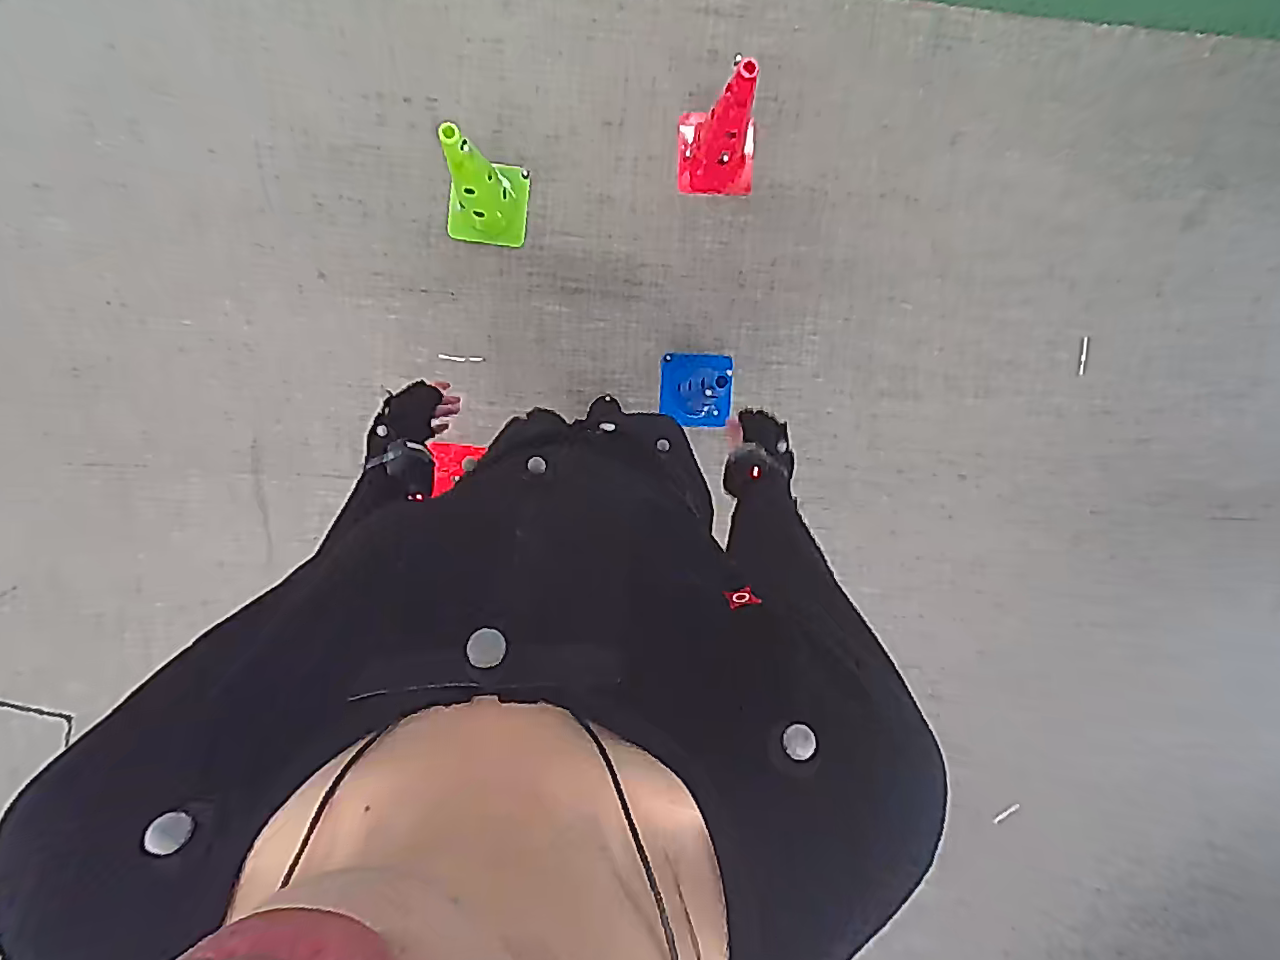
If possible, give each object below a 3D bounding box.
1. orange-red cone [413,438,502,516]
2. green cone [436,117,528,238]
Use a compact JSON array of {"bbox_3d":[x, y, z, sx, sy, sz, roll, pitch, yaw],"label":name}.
[{"bbox_3d":[-0.472,0.009,1.307,0.198,0.360,0.199,7,95,-5],"label":"orange-red cone"},{"bbox_3d":[-0.387,-0.713,1.223,0.200,0.368,0.202,5,97,-3],"label":"green cone"}]
